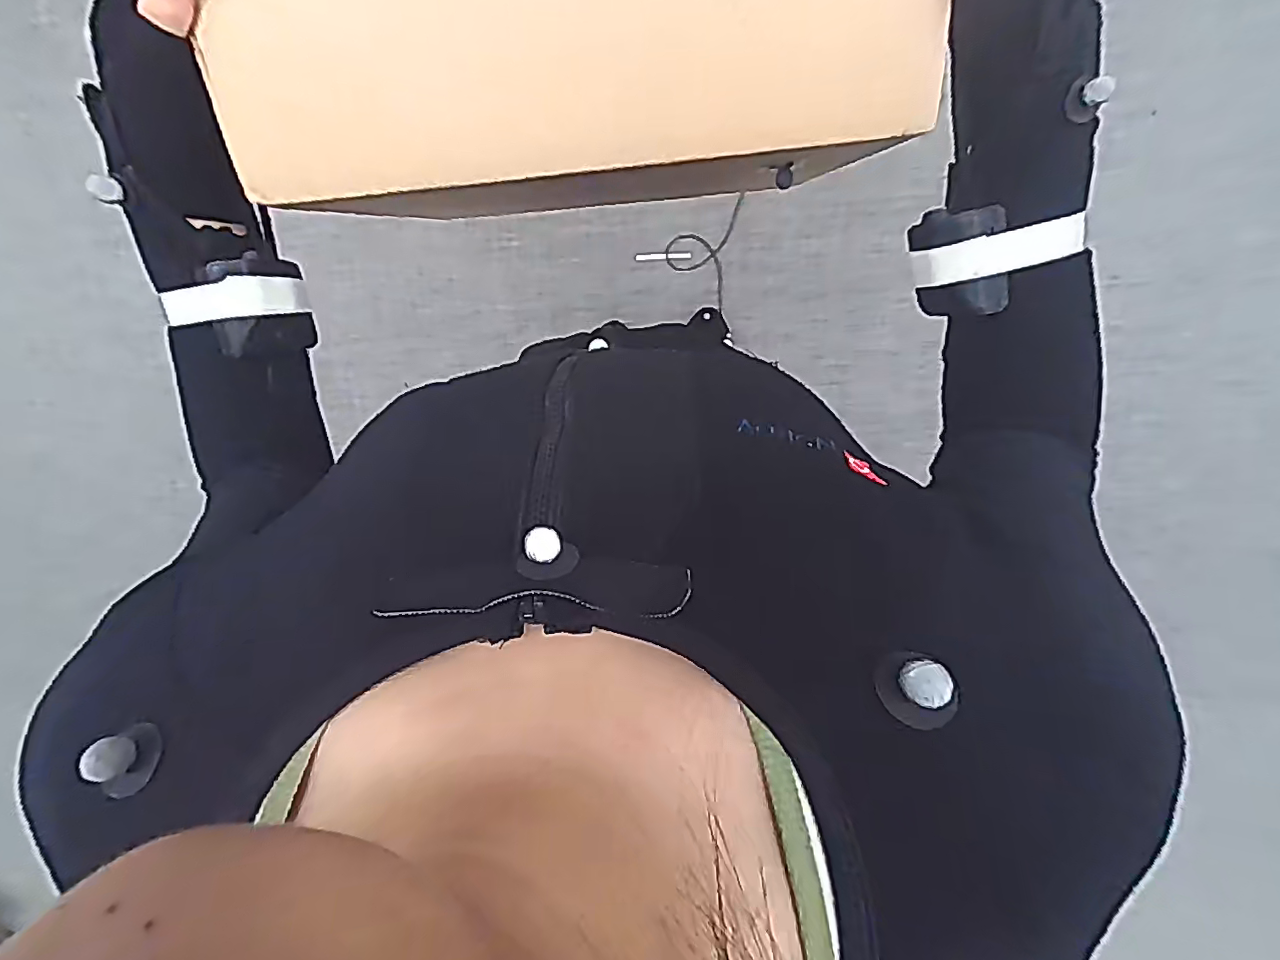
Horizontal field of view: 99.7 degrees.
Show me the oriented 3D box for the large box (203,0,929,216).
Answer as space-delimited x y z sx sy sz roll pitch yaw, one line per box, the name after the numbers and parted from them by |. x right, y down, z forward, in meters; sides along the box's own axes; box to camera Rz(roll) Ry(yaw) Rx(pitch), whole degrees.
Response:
-0.043 -0.389 0.403 0.408 0.320 0.320 -4 114 4 | large box
